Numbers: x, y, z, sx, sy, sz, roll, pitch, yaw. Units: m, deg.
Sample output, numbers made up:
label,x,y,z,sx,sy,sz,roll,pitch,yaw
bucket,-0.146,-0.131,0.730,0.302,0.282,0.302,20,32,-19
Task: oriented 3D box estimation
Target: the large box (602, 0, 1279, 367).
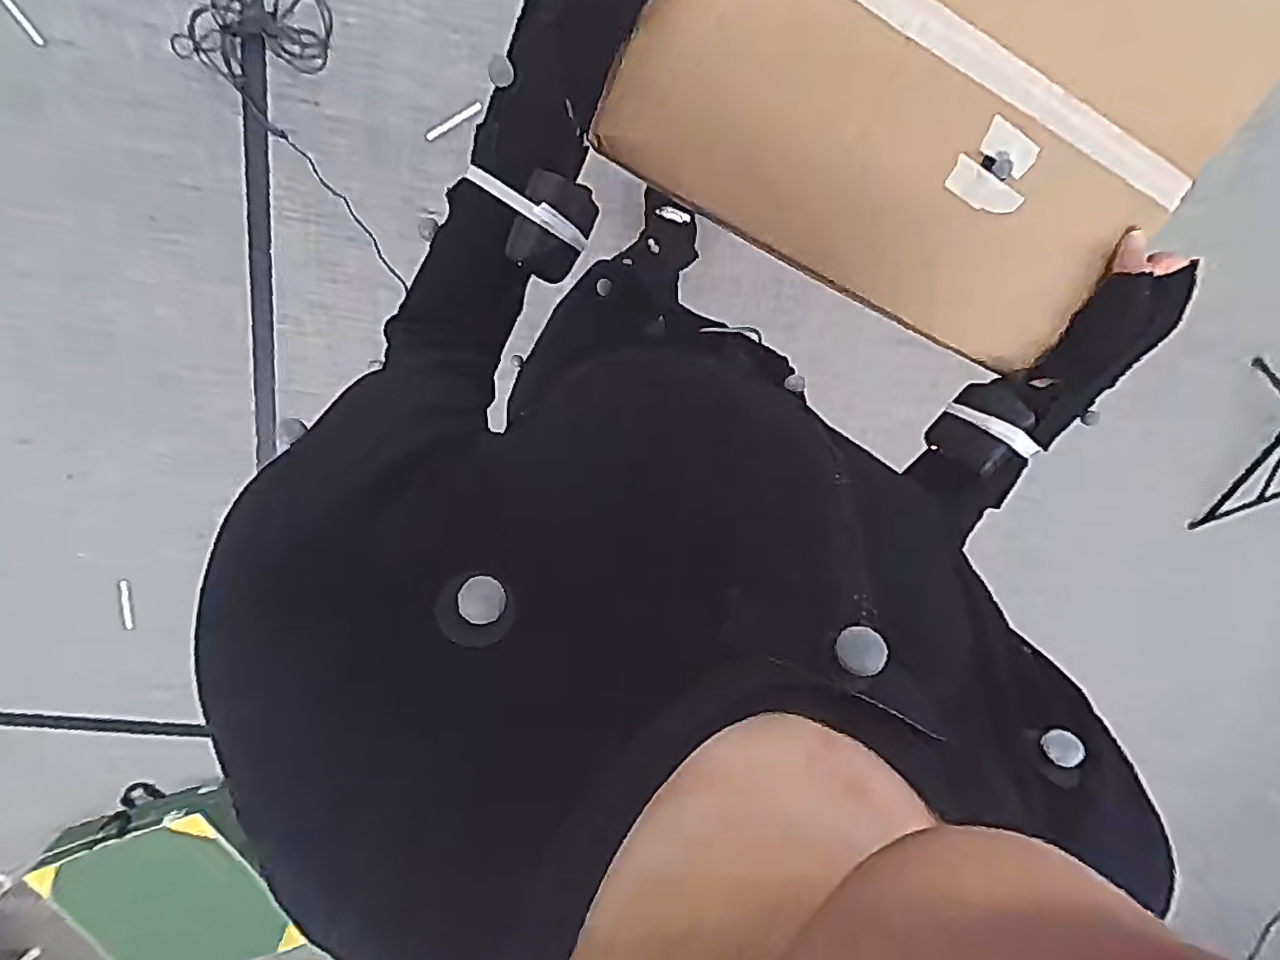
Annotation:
label,x,y,z,sx,sy,sz,roll,pitch,yaw
large box,0.209,-0.362,0.500,0.408,0.320,0.320,23,117,-13
